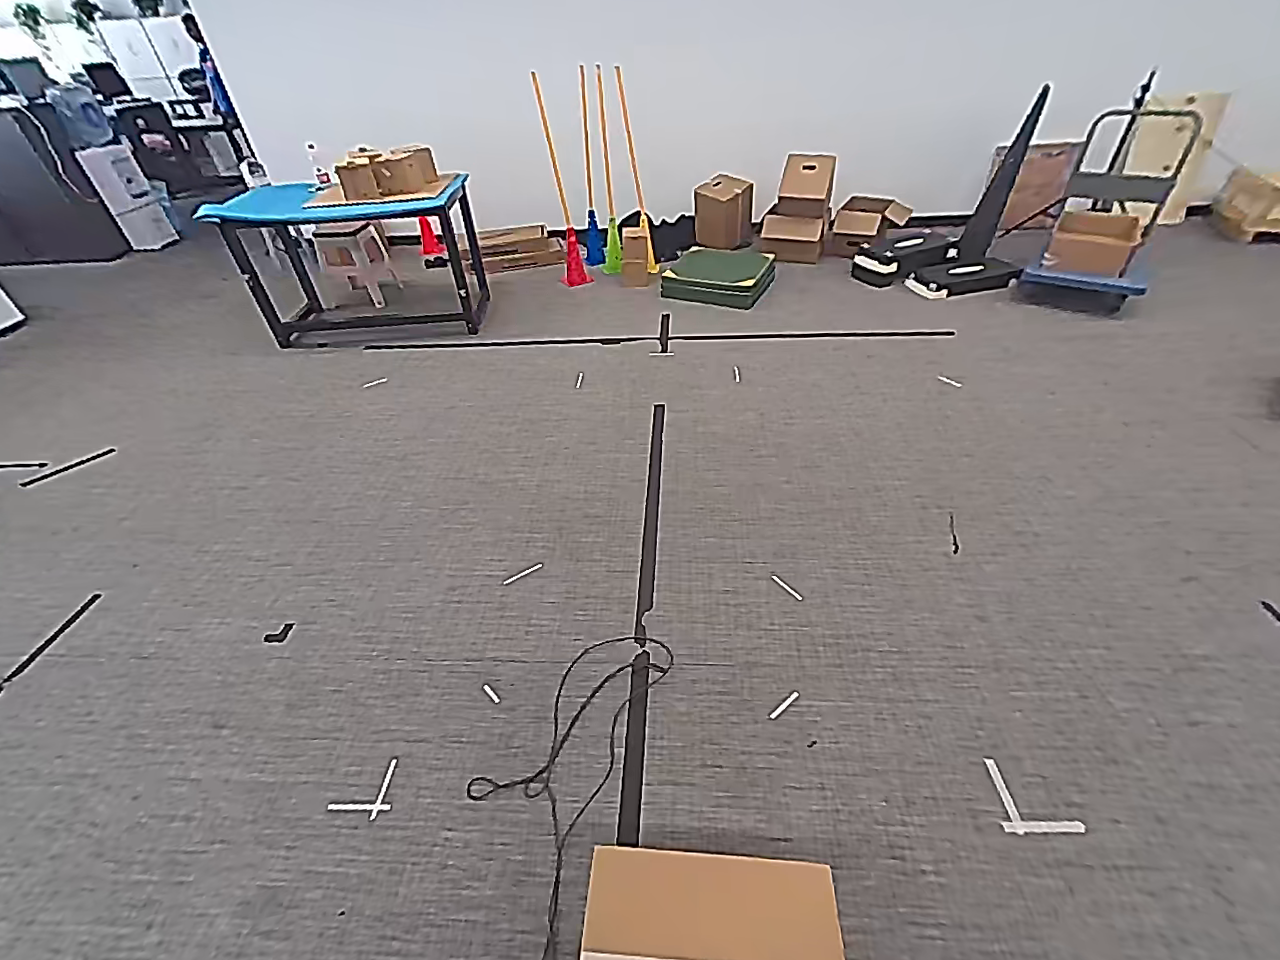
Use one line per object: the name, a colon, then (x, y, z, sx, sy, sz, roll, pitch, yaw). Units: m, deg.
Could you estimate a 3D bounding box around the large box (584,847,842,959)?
large box: (0.114, 0.861, 0.913, 0.408, 0.320, 0.320, 1, 41, 5)
